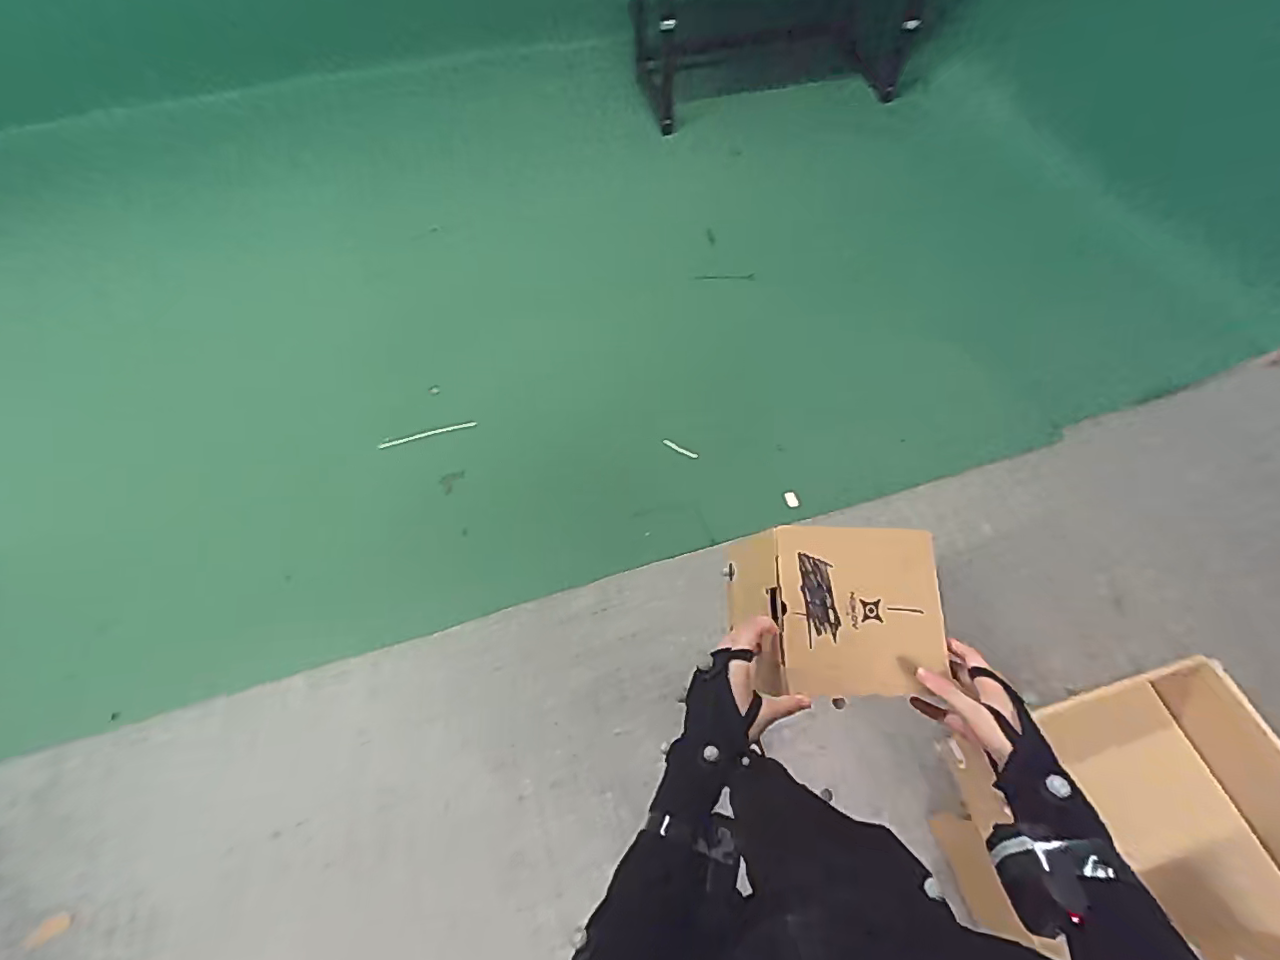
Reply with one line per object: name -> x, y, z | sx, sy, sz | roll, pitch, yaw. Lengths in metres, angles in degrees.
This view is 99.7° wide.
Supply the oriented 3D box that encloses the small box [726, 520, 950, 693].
small box -> 0.200, 0.143, 0.604 | 0.179, 0.176, 0.168 | 2, 75, -9
